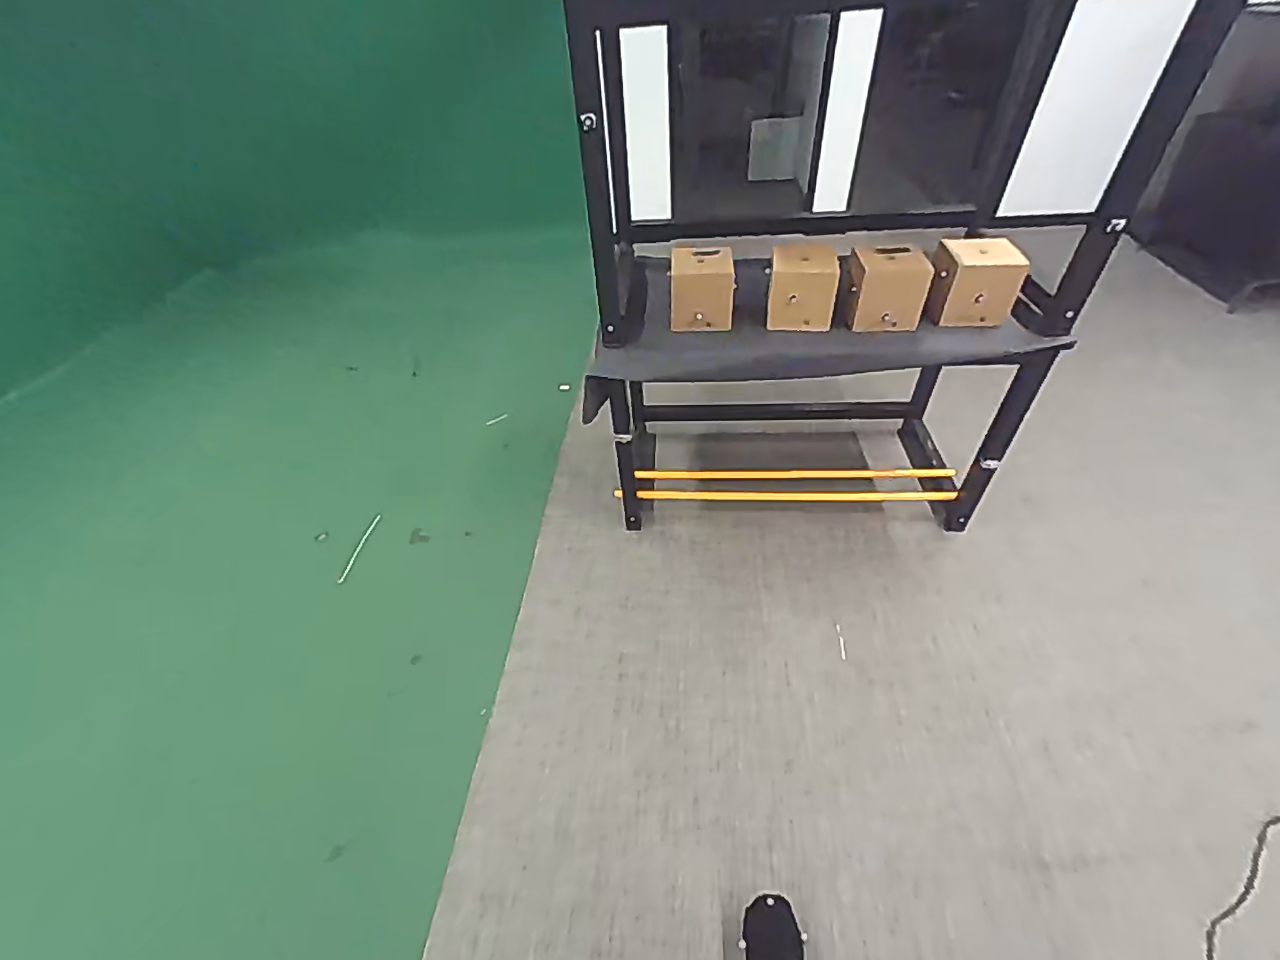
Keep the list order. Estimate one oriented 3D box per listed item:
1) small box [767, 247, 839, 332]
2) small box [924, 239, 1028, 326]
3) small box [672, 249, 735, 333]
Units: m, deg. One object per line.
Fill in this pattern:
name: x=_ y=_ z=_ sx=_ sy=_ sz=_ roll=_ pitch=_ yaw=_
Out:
small box: x=0.443 y=-0.521 z=1.483 sx=0.168 sy=0.176 sz=0.179 roll=4 pitch=44 yaw=10
small box: x=0.882 y=-0.522 z=1.439 sx=0.168 sy=0.176 sz=0.179 roll=2 pitch=43 yaw=7
small box: x=0.175 y=-0.529 z=1.513 sx=0.168 sy=0.176 sz=0.179 roll=0 pitch=44 yaw=5
